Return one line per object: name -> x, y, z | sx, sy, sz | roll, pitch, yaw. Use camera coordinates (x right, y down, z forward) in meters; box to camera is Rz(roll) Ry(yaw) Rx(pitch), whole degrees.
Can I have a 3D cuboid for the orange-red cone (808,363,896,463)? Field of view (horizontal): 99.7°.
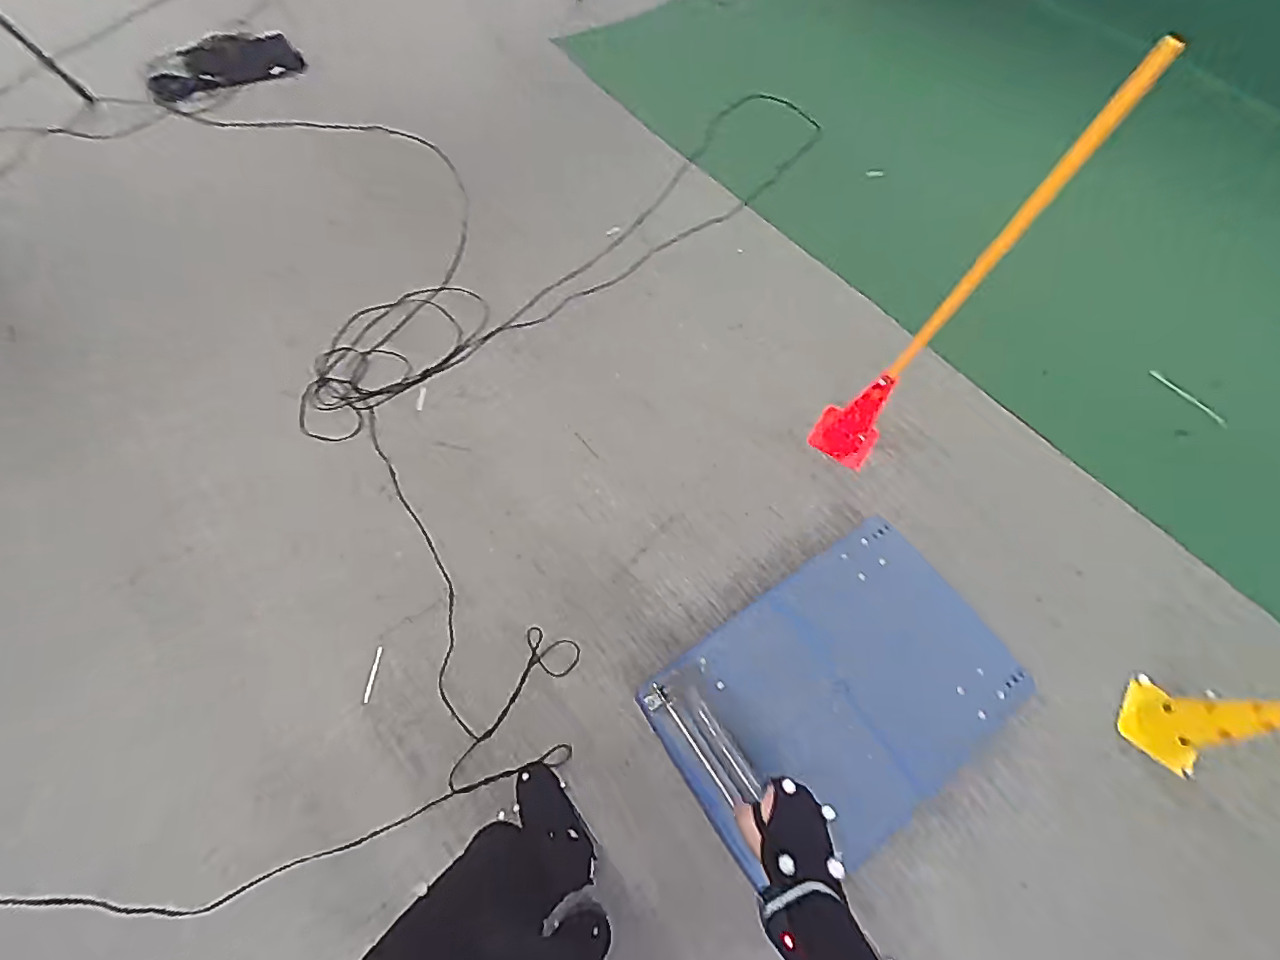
orange-red cone -> 0.714, -0.245, 1.725 | 0.199, 0.360, 0.198 | 34, 65, 13
